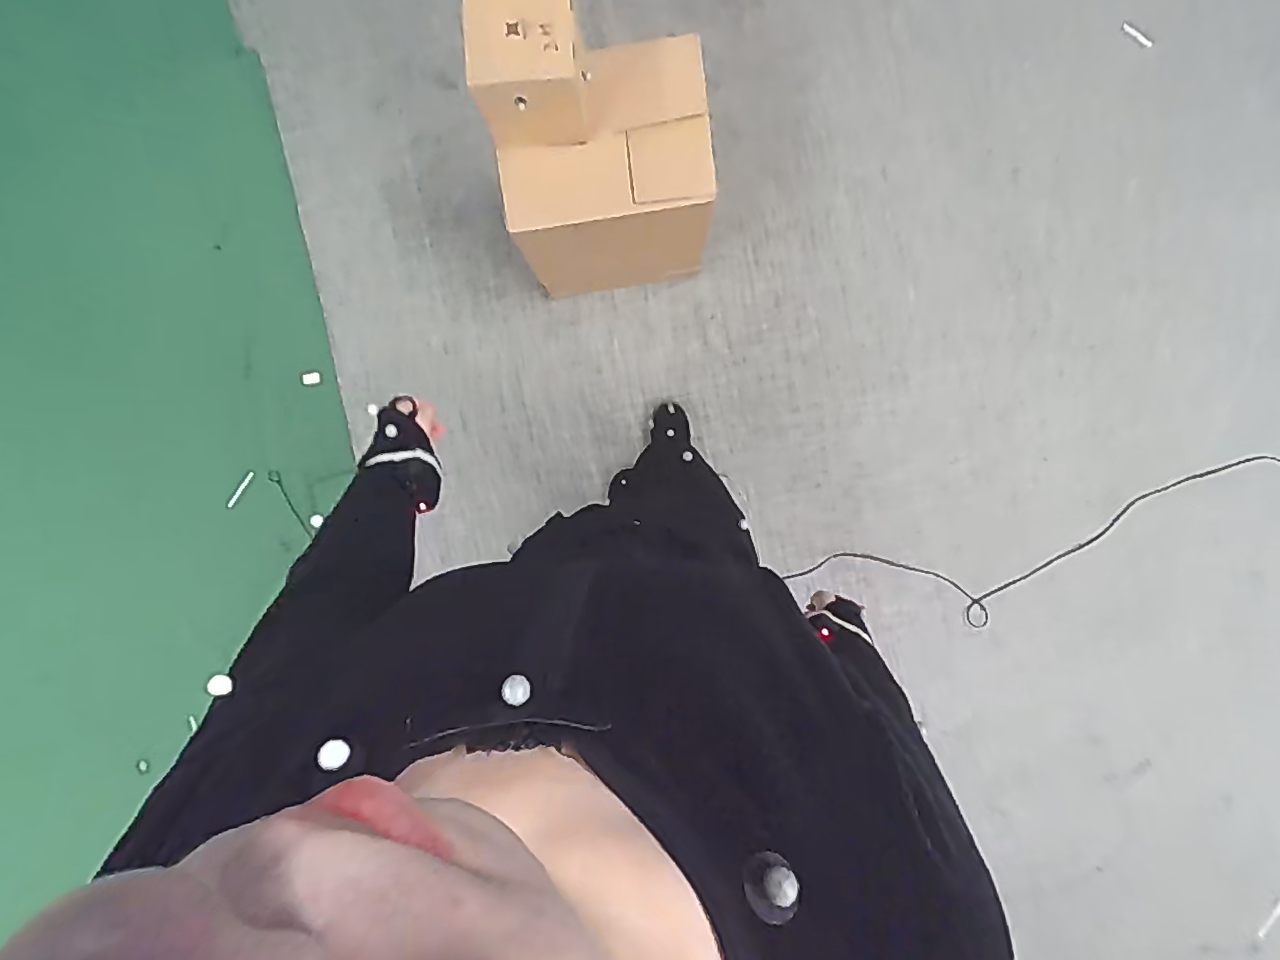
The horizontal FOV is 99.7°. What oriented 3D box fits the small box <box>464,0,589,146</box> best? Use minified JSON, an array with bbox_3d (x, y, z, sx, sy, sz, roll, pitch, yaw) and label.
[{"bbox_3d":[-0.187,-0.705,0.930,0.179,0.176,0.168,-3,92,2],"label":"small box"}]
